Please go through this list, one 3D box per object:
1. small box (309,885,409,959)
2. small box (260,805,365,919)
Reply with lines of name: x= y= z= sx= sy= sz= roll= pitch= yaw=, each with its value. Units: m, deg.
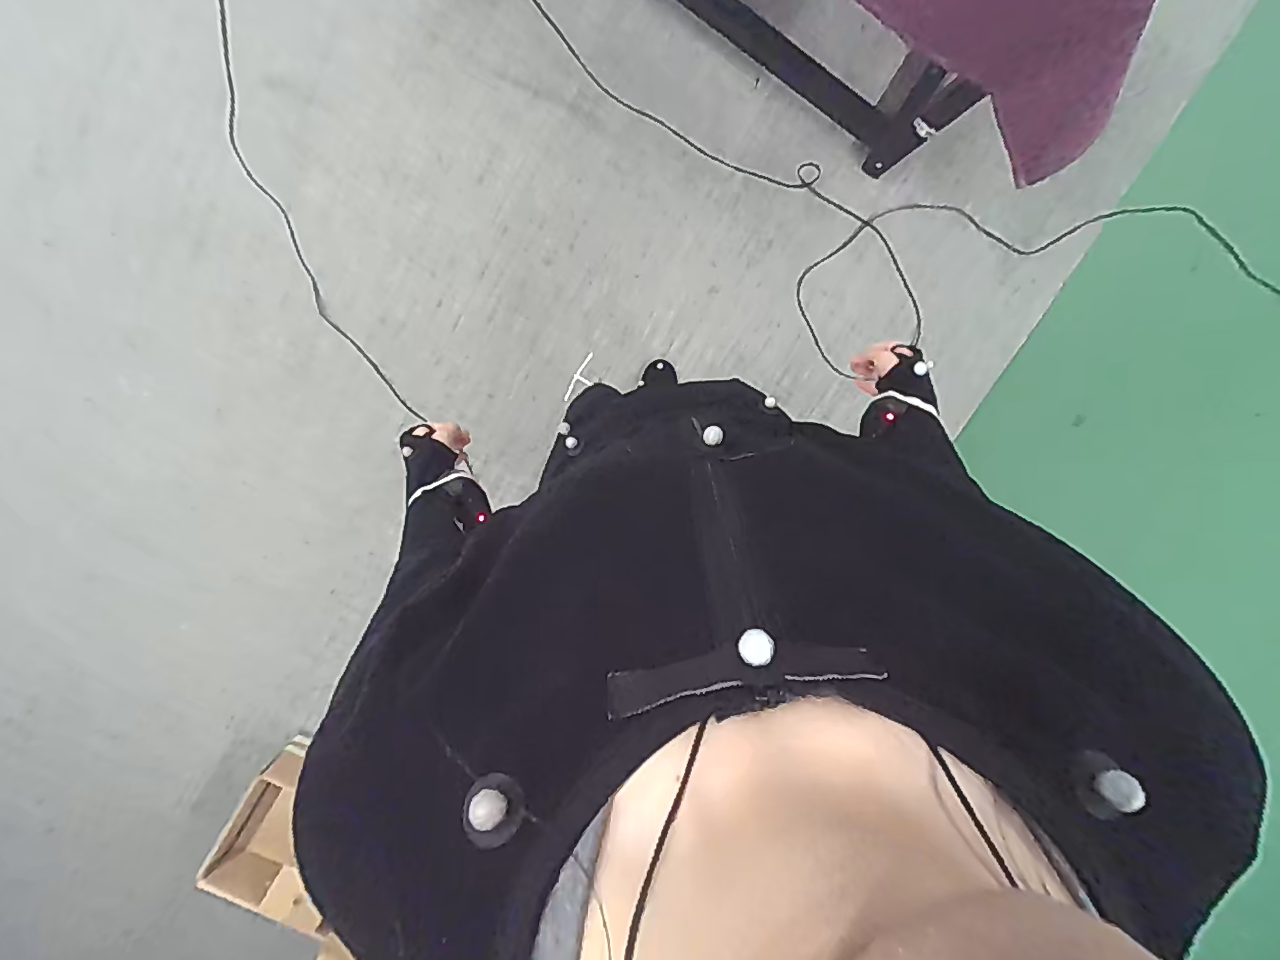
small box: x=-0.744 y=1.214 z=1.415 sx=0.179 sy=0.176 sz=0.168 roll=29 pitch=98 yaw=-8
small box: x=-0.926 y=1.087 z=1.549 sx=0.168 sy=0.176 sz=0.179 roll=33 pitch=97 yaw=-10
